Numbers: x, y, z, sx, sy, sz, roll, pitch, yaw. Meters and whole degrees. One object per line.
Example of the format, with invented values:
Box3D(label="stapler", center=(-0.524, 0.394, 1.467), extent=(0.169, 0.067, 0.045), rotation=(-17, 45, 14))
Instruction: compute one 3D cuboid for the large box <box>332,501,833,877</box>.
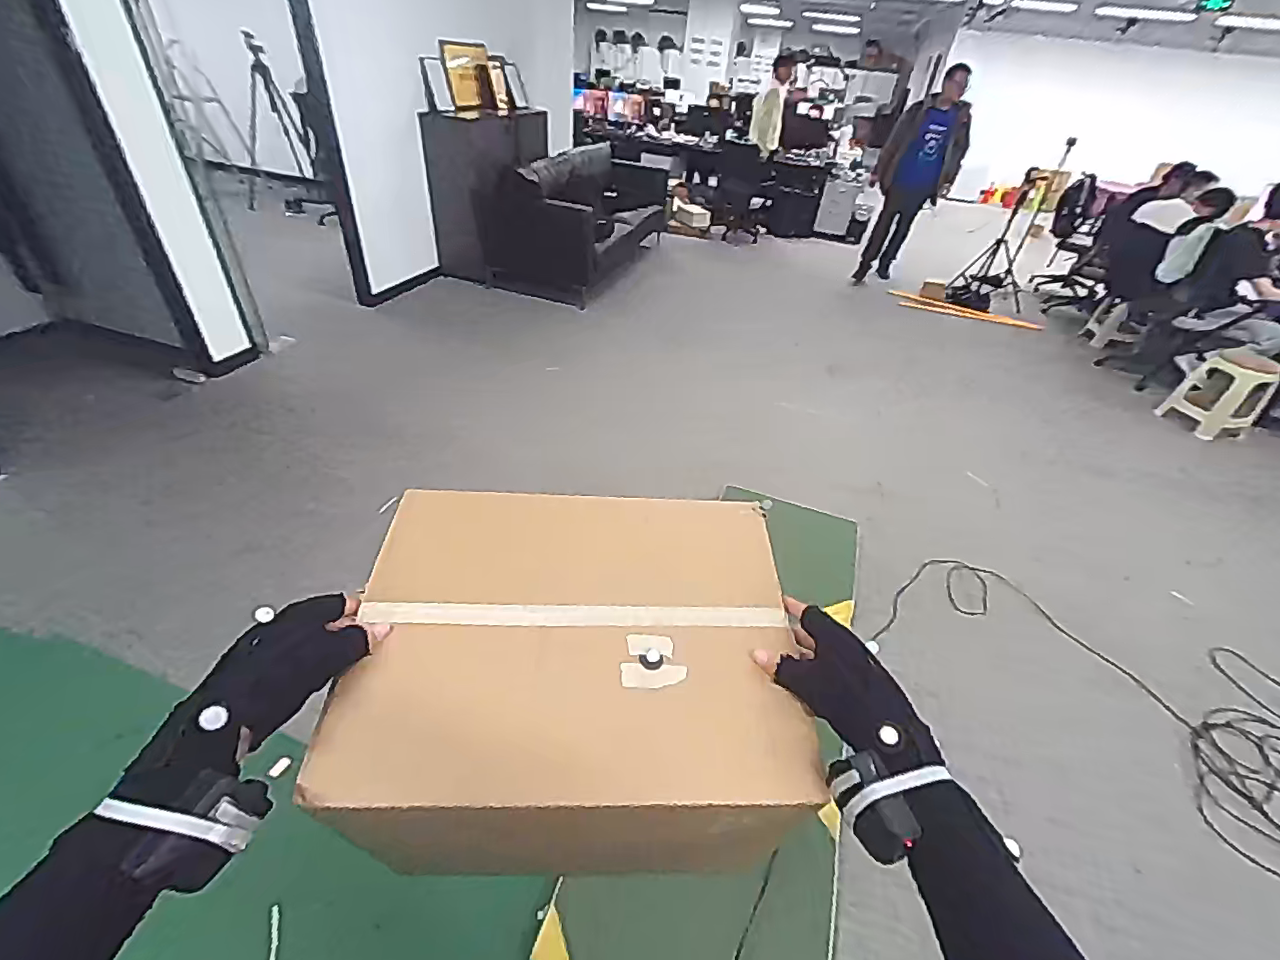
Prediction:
Box3D(label="large box", center=(-0.058, 0.243, 0.631), extent=(0.408, 0.320, 0.320), rotation=(3, 46, -5))
